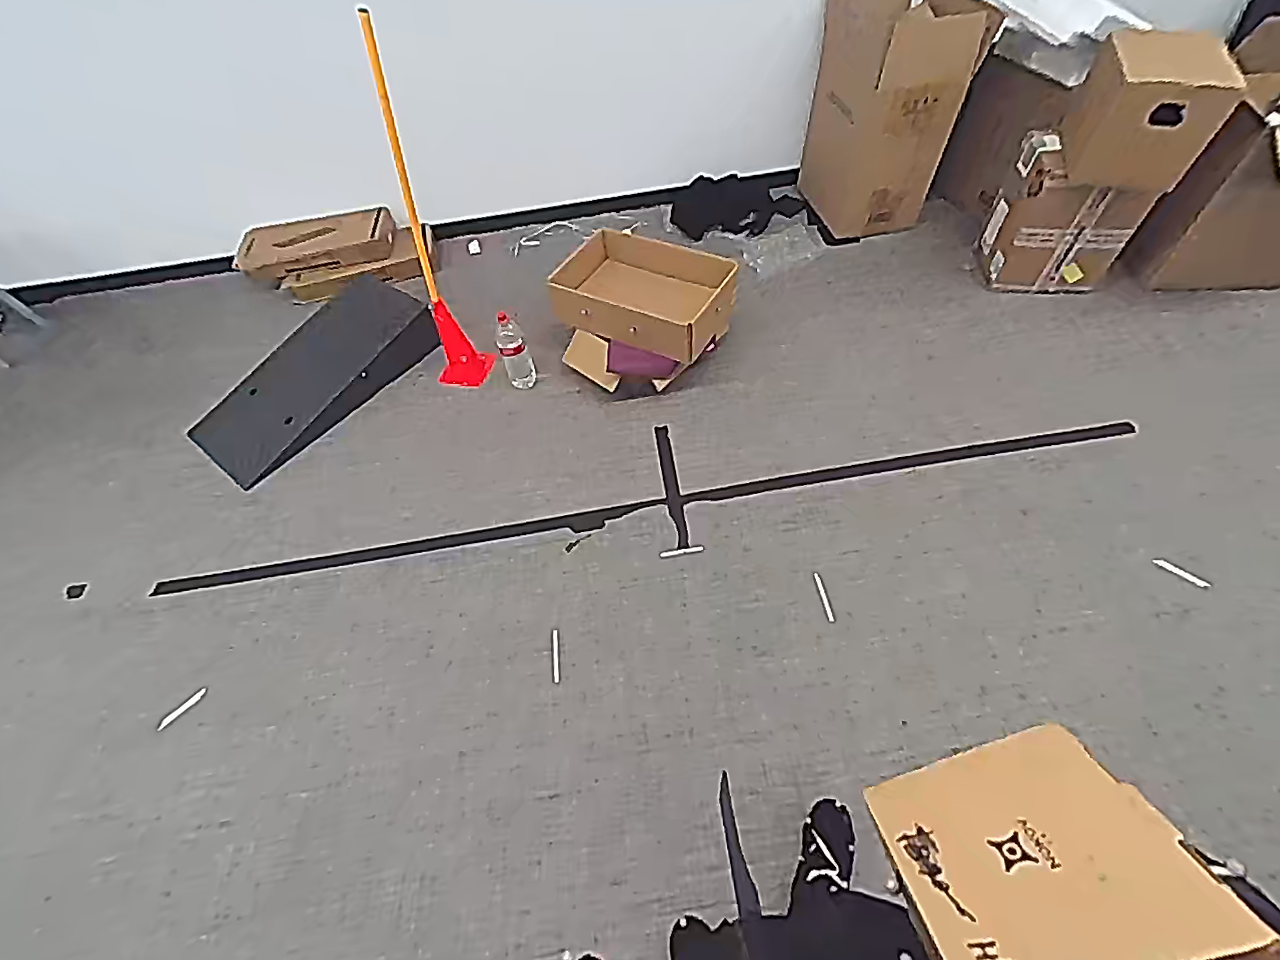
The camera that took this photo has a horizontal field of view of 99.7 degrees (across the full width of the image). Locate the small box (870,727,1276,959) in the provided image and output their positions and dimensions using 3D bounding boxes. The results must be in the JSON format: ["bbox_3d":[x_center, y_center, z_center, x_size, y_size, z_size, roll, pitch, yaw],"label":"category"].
[{"bbox_3d":[0.313,0.338,0.419,0.179,0.176,0.168,-23,17,6],"label":"small box"}]
